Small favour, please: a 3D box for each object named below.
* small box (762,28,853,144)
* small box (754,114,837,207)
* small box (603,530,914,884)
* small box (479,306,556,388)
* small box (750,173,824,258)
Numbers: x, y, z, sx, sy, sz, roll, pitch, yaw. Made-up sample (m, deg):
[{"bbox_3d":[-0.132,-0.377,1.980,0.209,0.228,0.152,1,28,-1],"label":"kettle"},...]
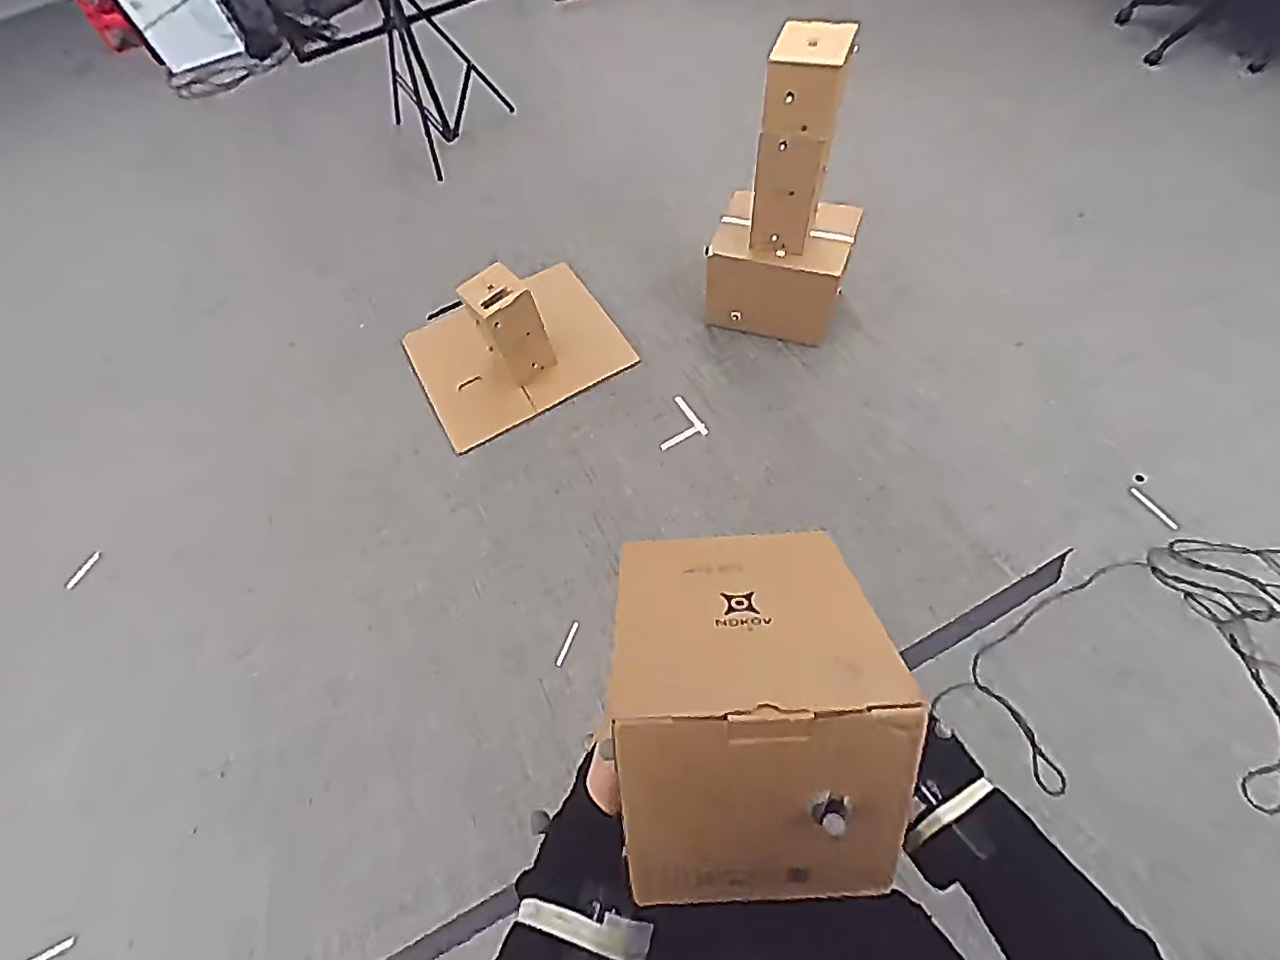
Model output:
[{"bbox_3d":[0.395,-0.941,1.297,0.168,0.176,0.179,16,65,14],"label":"small box"},{"bbox_3d":[0.409,-0.868,1.442,0.168,0.176,0.179,16,64,15],"label":"small box"},{"bbox_3d":[0.068,0.154,0.387,0.168,0.176,0.179,-3,24,1],"label":"small box"},{"bbox_3d":[-0.412,-0.448,1.840,0.168,0.176,0.179,-38,65,-11],"label":"small box"},{"bbox_3d":[0.424,-0.788,1.585,0.168,0.176,0.179,16,65,15],"label":"small box"}]
